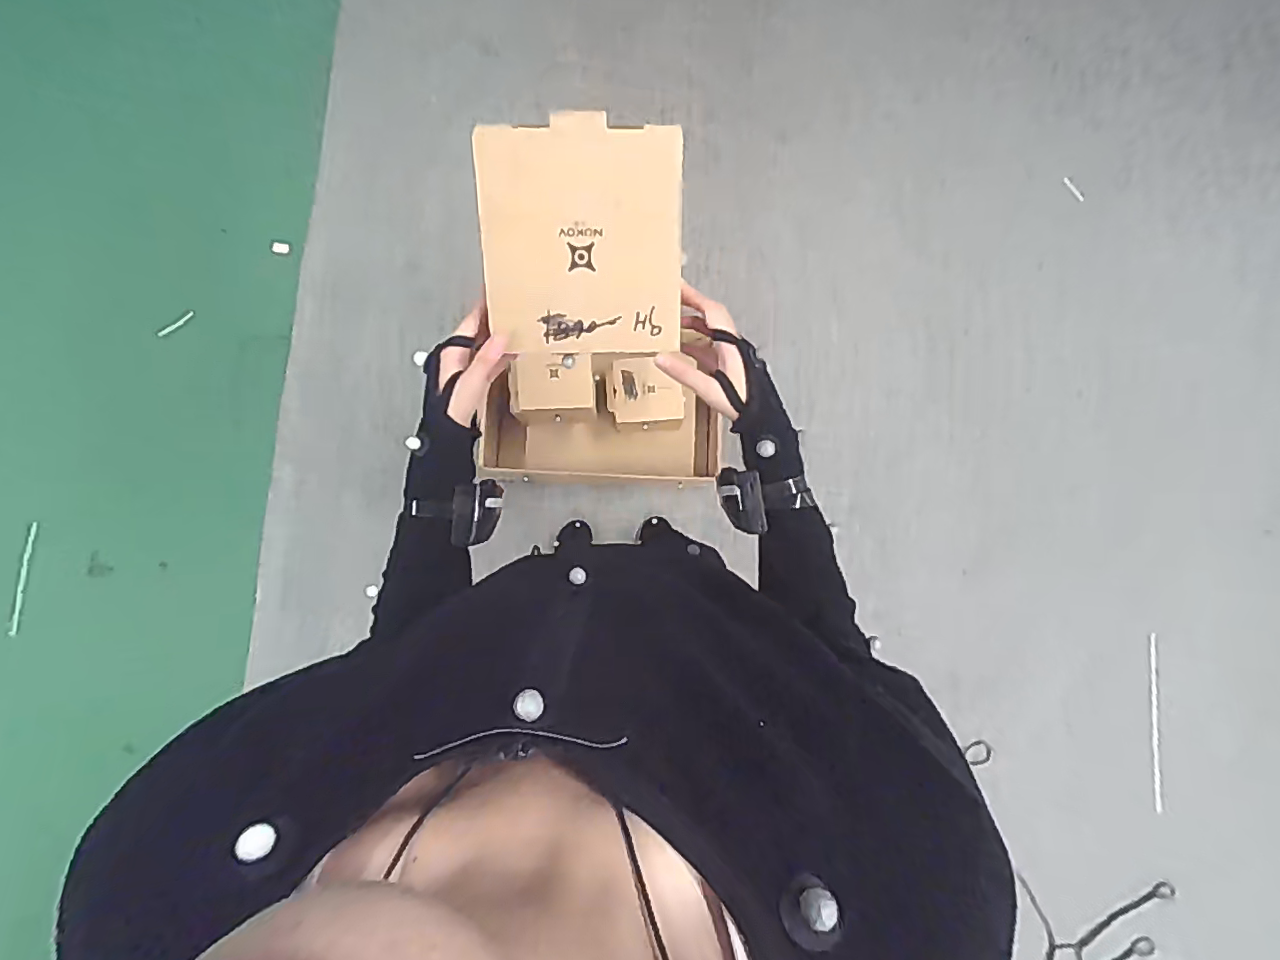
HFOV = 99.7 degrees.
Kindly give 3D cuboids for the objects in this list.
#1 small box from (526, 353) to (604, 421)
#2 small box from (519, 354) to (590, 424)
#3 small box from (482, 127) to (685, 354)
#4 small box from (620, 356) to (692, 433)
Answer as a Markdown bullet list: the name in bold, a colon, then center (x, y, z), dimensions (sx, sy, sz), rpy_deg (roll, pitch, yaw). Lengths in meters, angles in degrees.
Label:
- **small box**: center (-0.172, -0.237, 1.283), dimensions (0.168, 0.176, 0.179), rpy_deg (-2, 87, -2)
- **small box**: center (-0.220, -0.244, 1.447), dimensions (0.179, 0.176, 0.168), rpy_deg (0, 87, -1)
- **small box**: center (-0.045, -0.216, 0.528), dimensions (0.168, 0.176, 0.179), rpy_deg (-1, 106, 1)
- **small box**: center (0.044, -0.223, 1.441), dimensions (0.179, 0.176, 0.168), rpy_deg (-4, 86, 1)
